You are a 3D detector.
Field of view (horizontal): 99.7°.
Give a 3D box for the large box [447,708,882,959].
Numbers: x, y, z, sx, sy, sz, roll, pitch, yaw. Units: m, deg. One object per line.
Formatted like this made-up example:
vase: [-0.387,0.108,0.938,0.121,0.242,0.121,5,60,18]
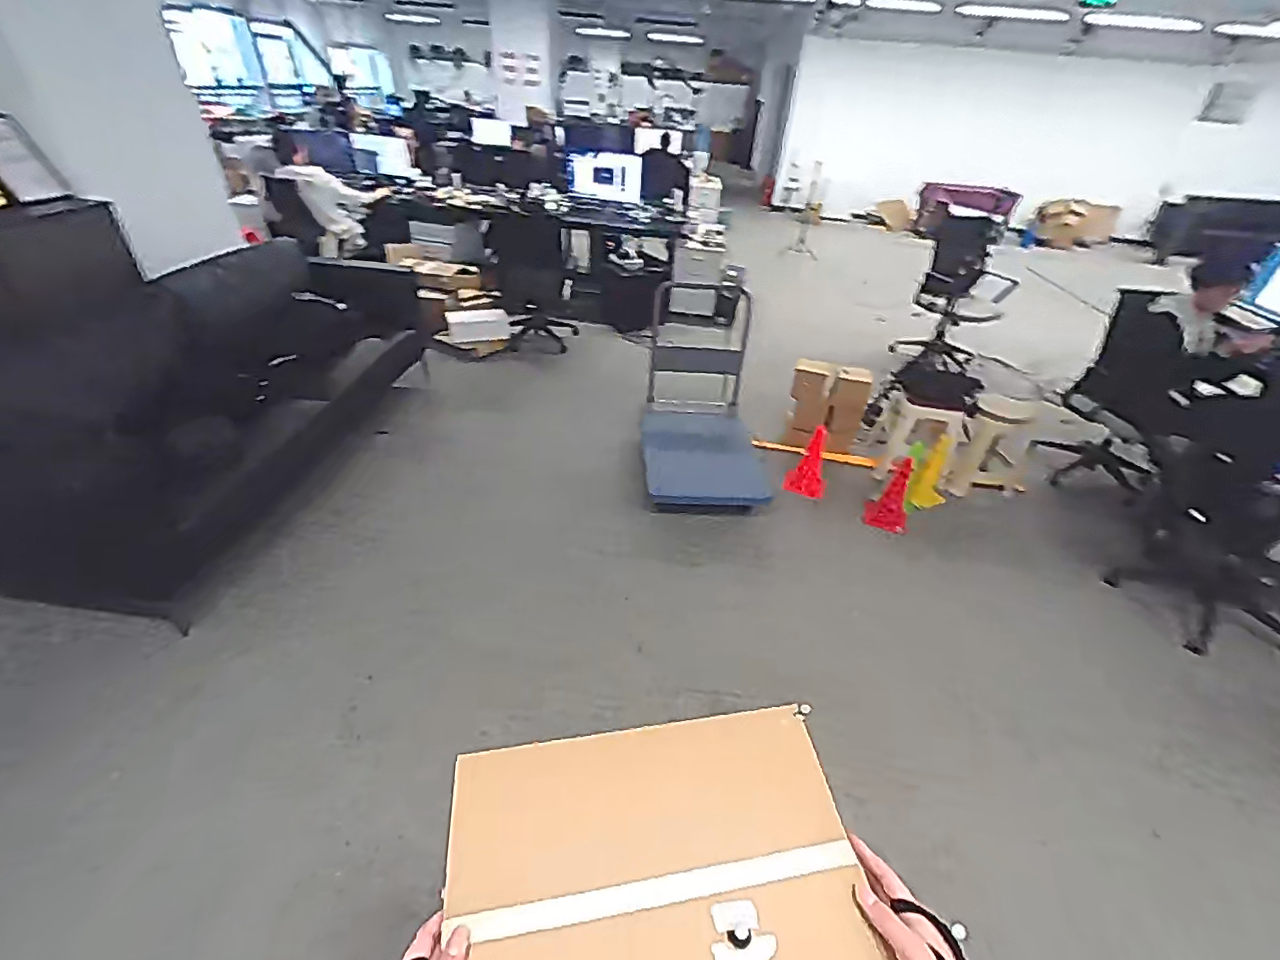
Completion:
large box: [0.008,0.517,0.633,0.408,0.320,0.320,-5,44,-9]
